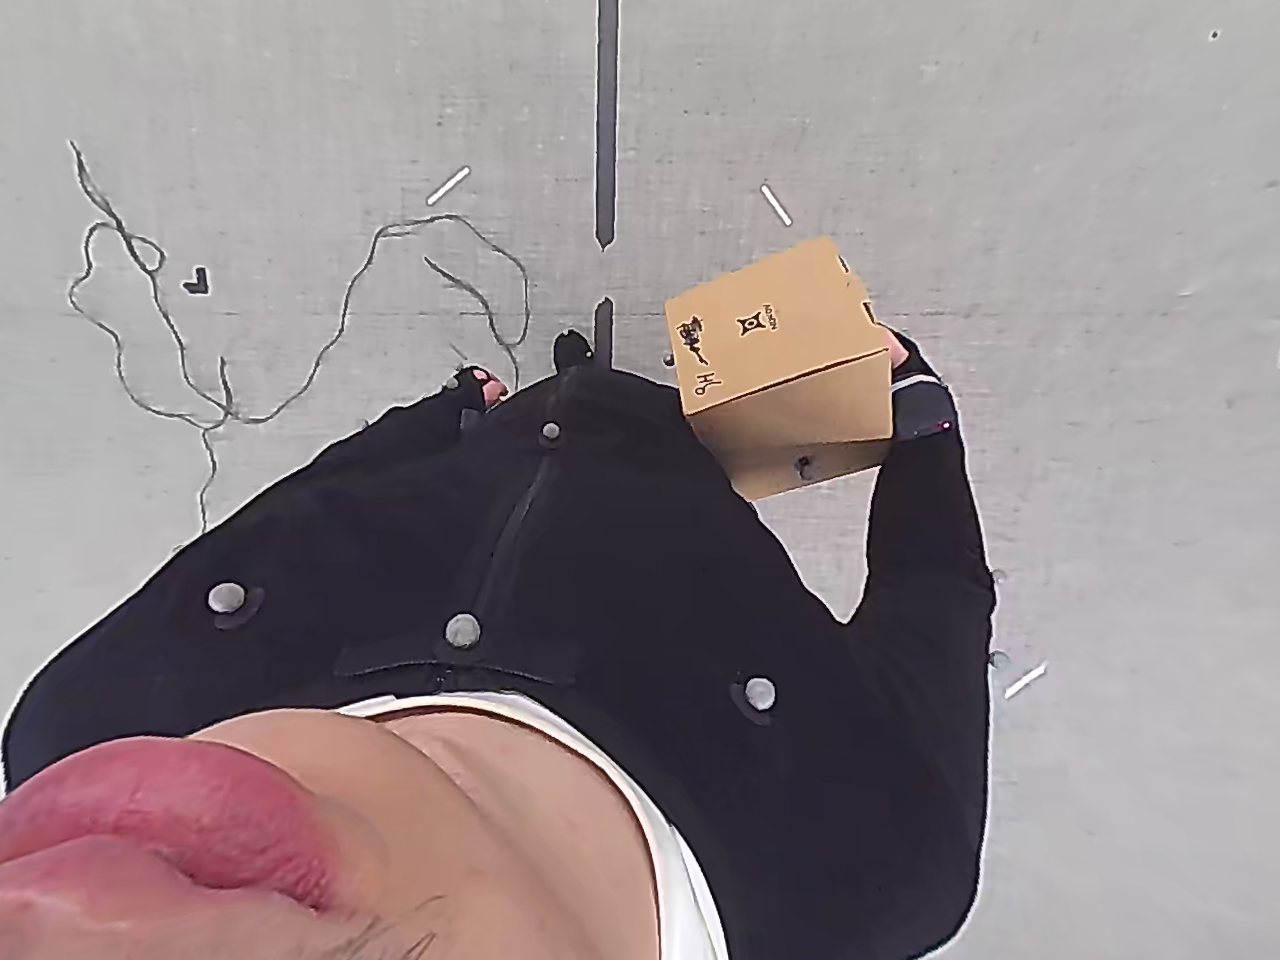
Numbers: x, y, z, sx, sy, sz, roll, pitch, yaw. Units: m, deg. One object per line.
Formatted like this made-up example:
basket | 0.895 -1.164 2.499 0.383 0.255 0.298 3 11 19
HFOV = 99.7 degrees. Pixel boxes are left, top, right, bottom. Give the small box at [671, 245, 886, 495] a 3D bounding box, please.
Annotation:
small box | 0.147 -0.108 0.580 0.179 0.168 0.176 -16 142 14
